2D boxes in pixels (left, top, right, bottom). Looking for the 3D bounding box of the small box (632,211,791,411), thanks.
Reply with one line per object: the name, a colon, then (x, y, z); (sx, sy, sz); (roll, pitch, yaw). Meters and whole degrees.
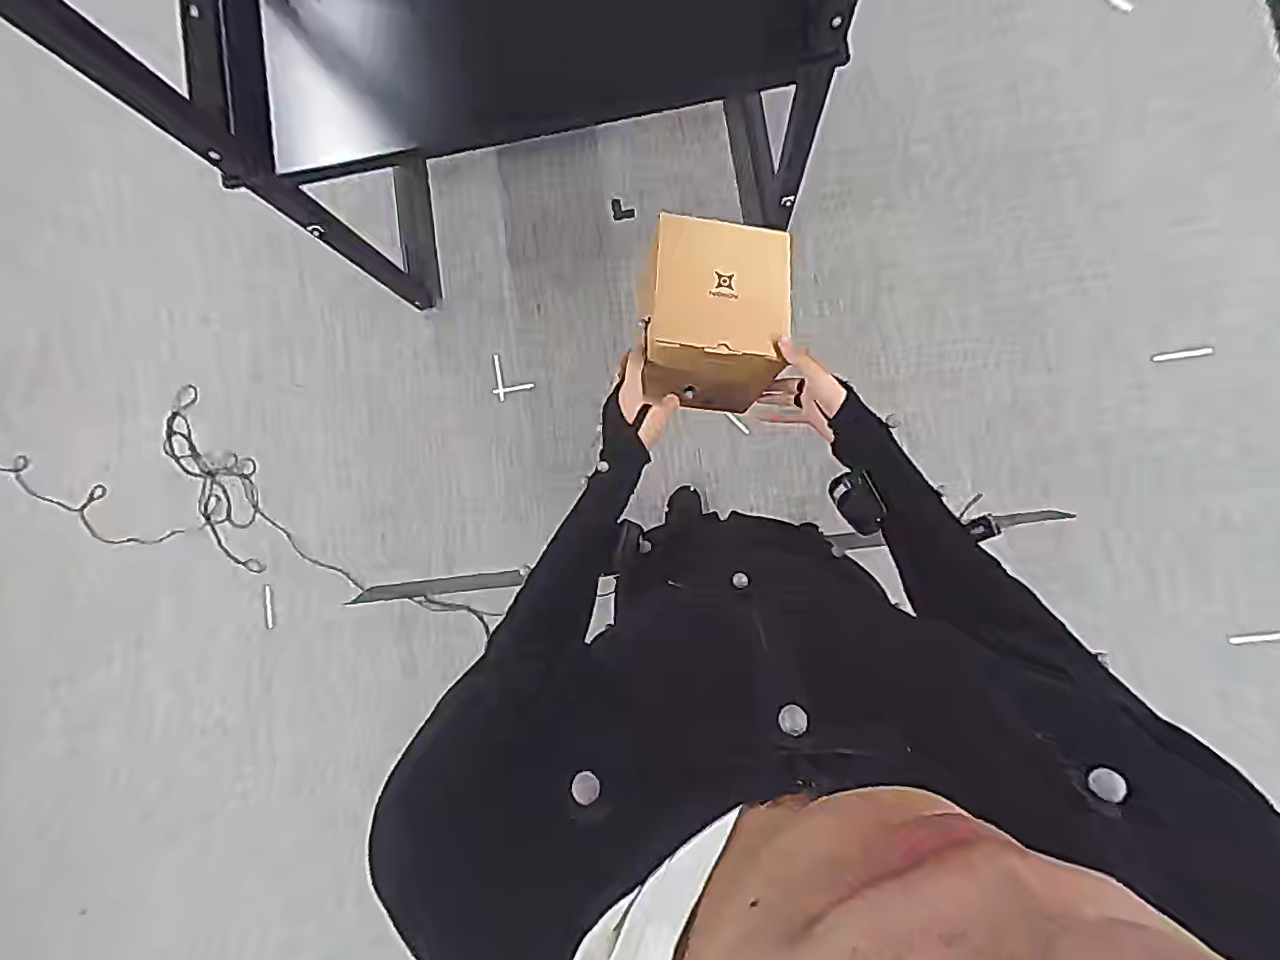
small box: (0.085, -0.209, 0.708); (0.168, 0.176, 0.179); (5, 75, -8)
